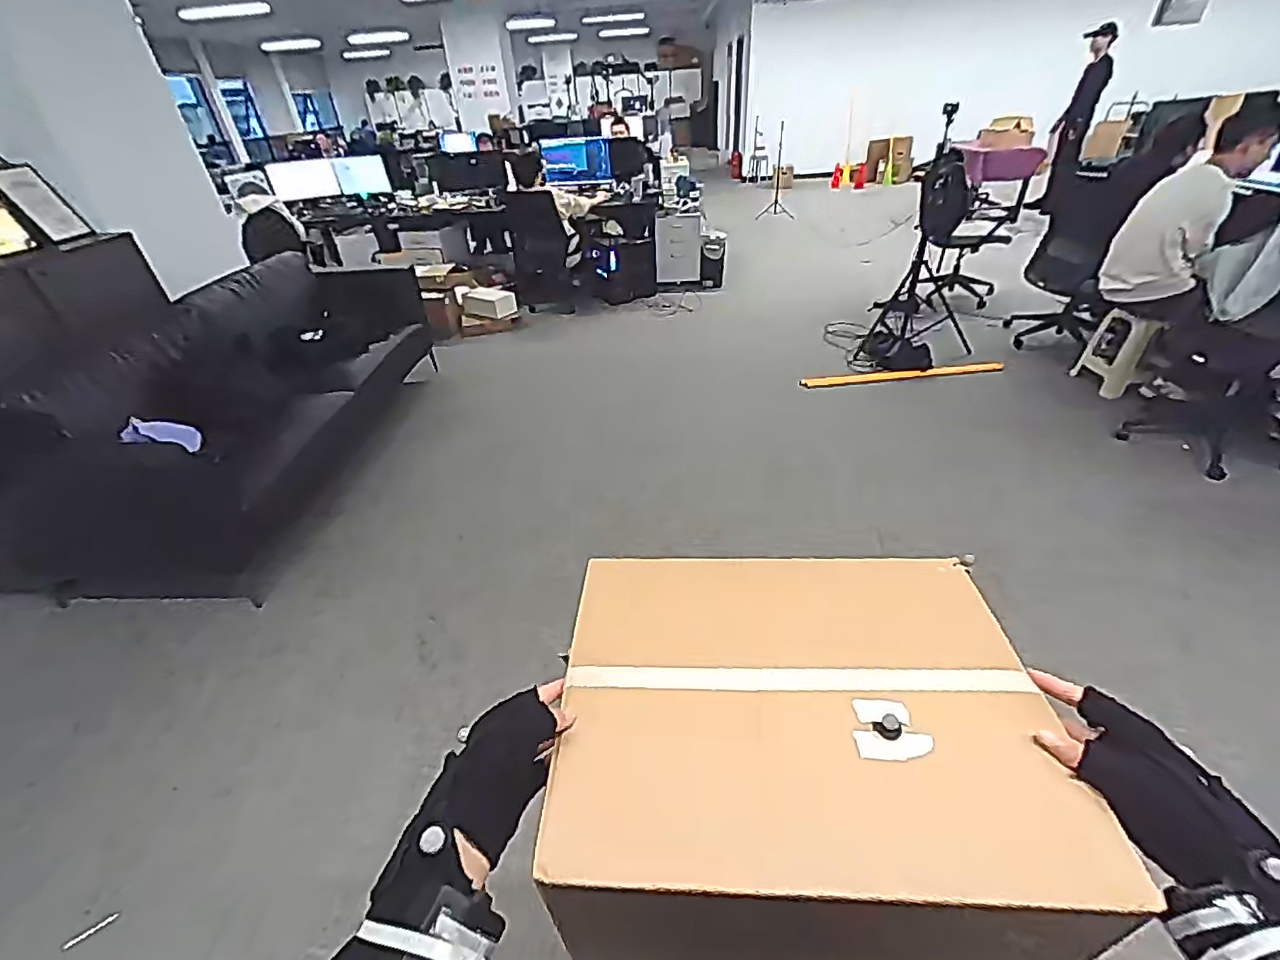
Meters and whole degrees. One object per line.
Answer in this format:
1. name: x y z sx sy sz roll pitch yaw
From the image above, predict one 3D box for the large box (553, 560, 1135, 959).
1. large box: 0.148 0.304 0.576 0.408 0.320 0.320 -1 36 5
